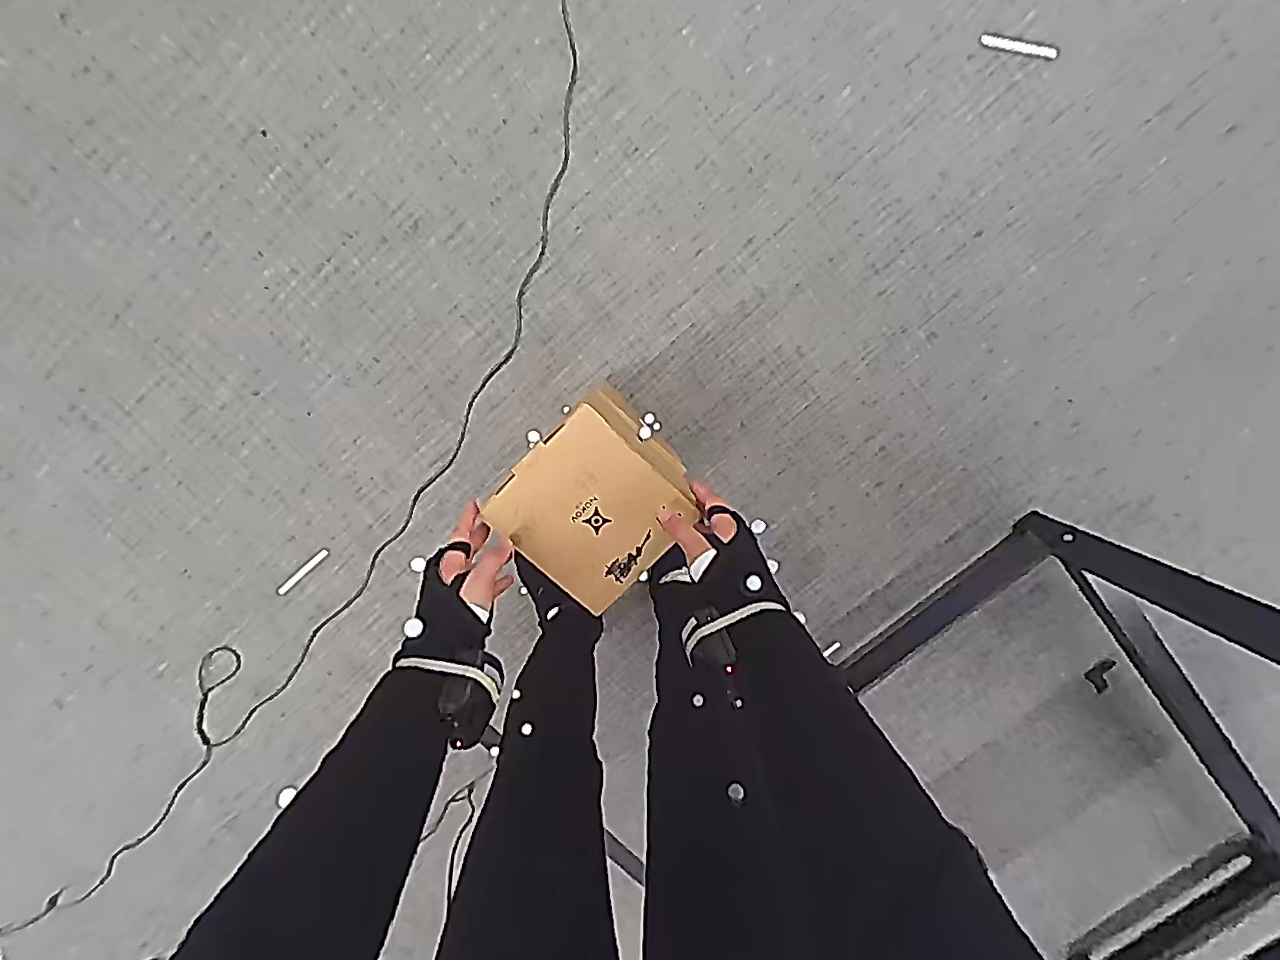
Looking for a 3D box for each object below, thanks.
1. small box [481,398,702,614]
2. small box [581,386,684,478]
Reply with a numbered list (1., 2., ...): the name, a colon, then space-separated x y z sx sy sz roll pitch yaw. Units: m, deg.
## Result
1. small box: -0.053 0.017 0.643 0.179 0.176 0.168 44 98 -11
2. small box: -0.058 -0.020 0.803 0.168 0.176 0.179 41 97 -12
